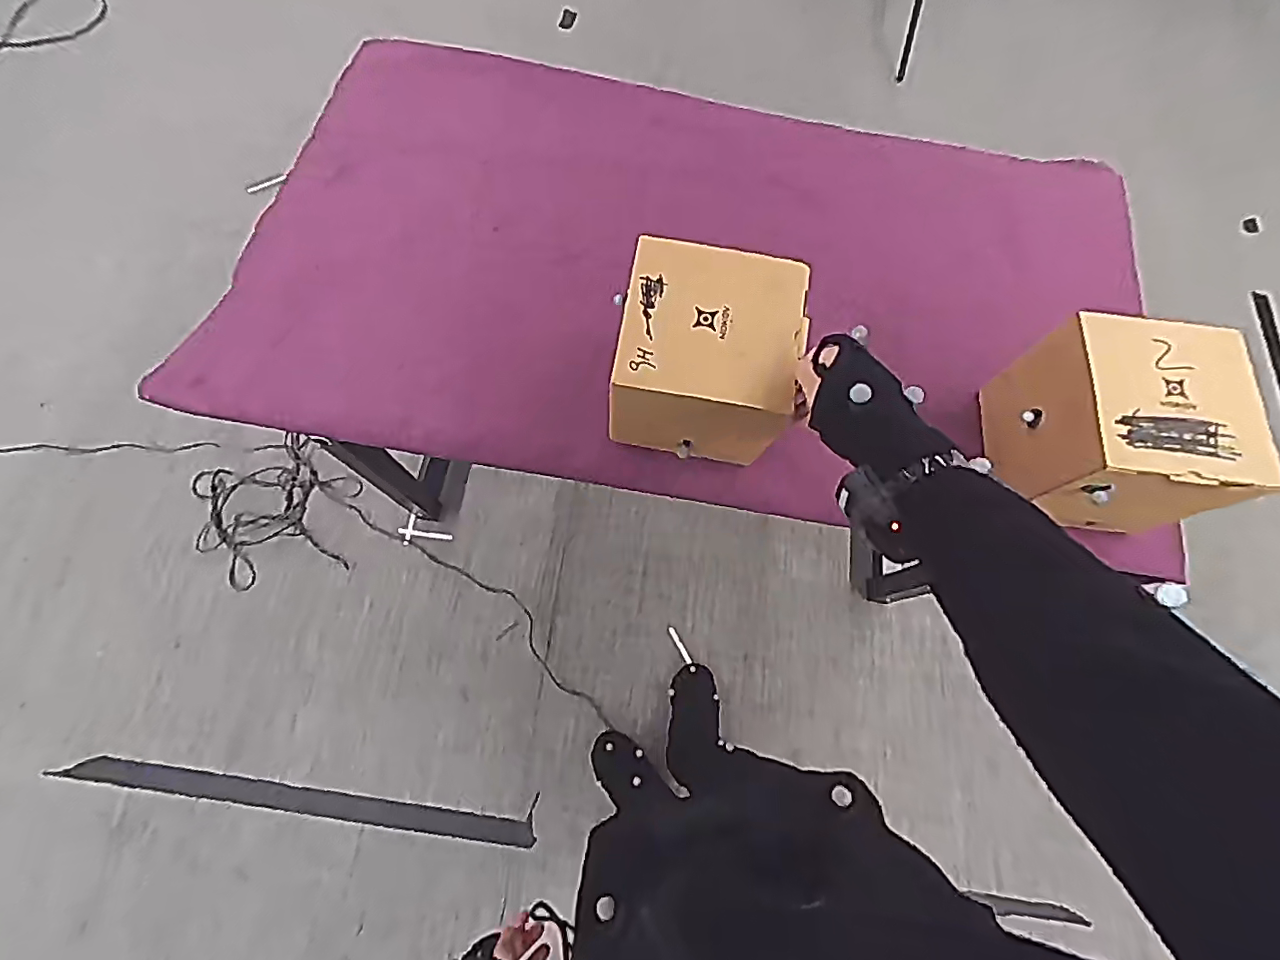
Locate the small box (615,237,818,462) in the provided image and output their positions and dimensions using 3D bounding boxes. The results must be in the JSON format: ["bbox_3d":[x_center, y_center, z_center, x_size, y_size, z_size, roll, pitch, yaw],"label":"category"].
[{"bbox_3d":[0.073,-0.127,0.592,0.179,0.176,0.168,11,75,-1],"label":"small box"}]
